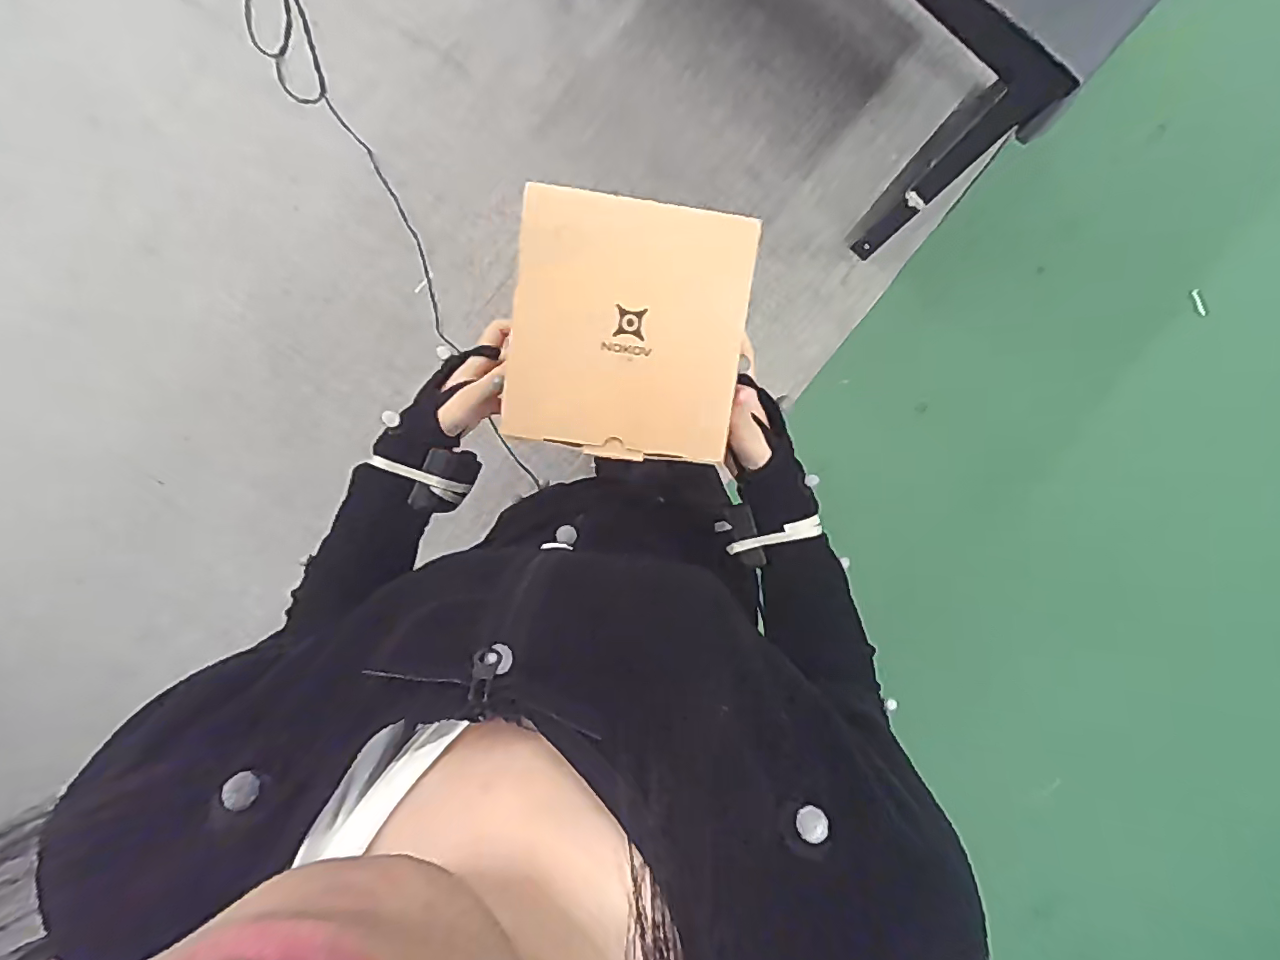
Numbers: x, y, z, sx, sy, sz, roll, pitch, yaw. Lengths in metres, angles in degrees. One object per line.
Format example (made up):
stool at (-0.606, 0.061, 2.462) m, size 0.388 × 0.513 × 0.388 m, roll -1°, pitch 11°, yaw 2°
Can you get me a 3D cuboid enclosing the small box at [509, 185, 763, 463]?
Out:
small box at (-0.009, -0.120, 0.468) m, size 0.168 × 0.176 × 0.179 m, roll 7°, pitch 99°, yaw -4°
